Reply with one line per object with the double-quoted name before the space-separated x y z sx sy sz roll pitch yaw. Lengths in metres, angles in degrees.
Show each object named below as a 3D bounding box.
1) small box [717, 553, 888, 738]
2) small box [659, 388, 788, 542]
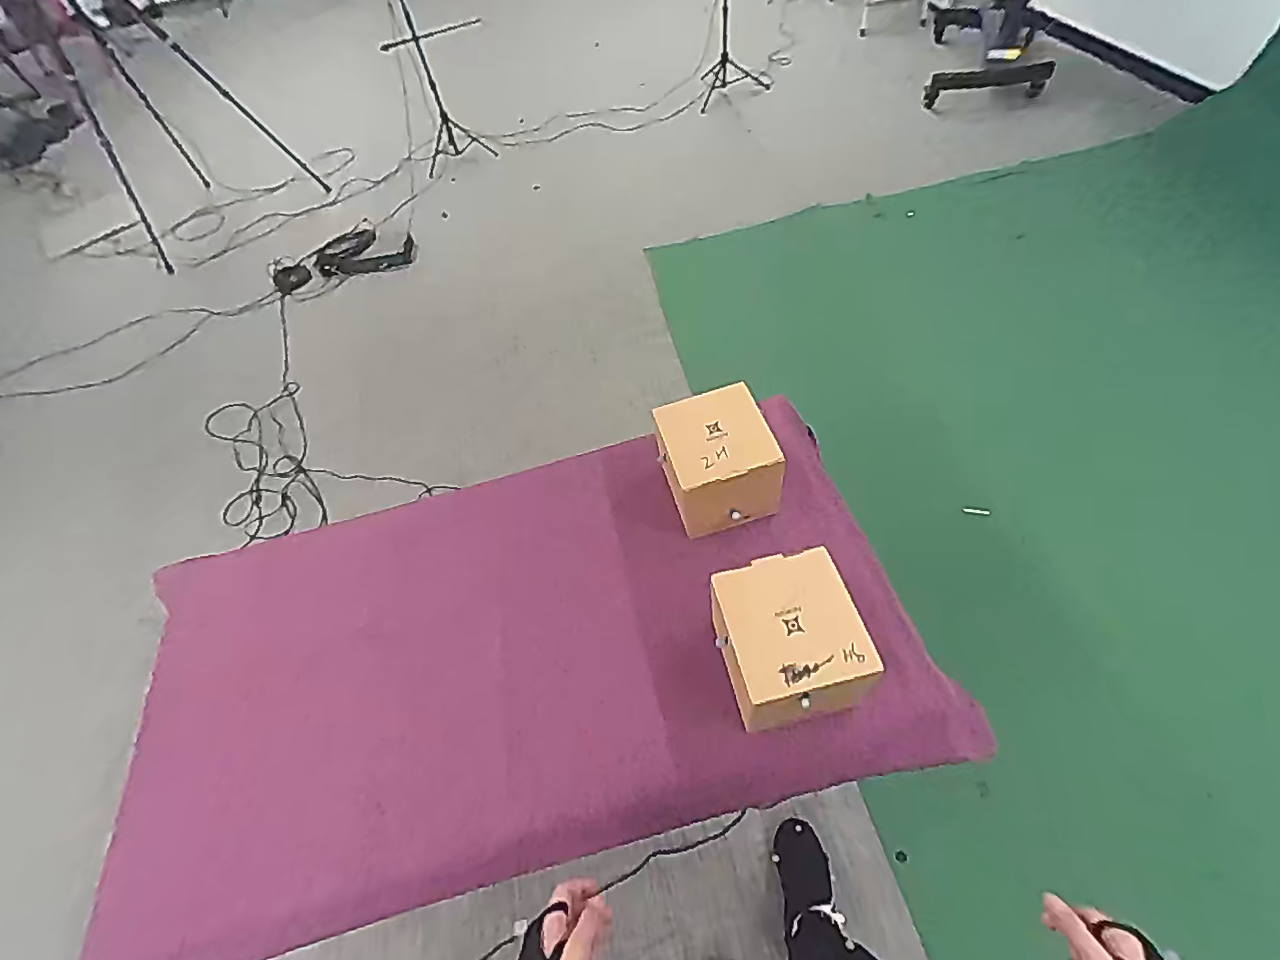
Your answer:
"small box" 0.206 0.230 0.746 0.168 0.176 0.179 -14 53 -1
"small box" 0.138 -0.022 0.928 0.168 0.176 0.179 -17 55 -1
